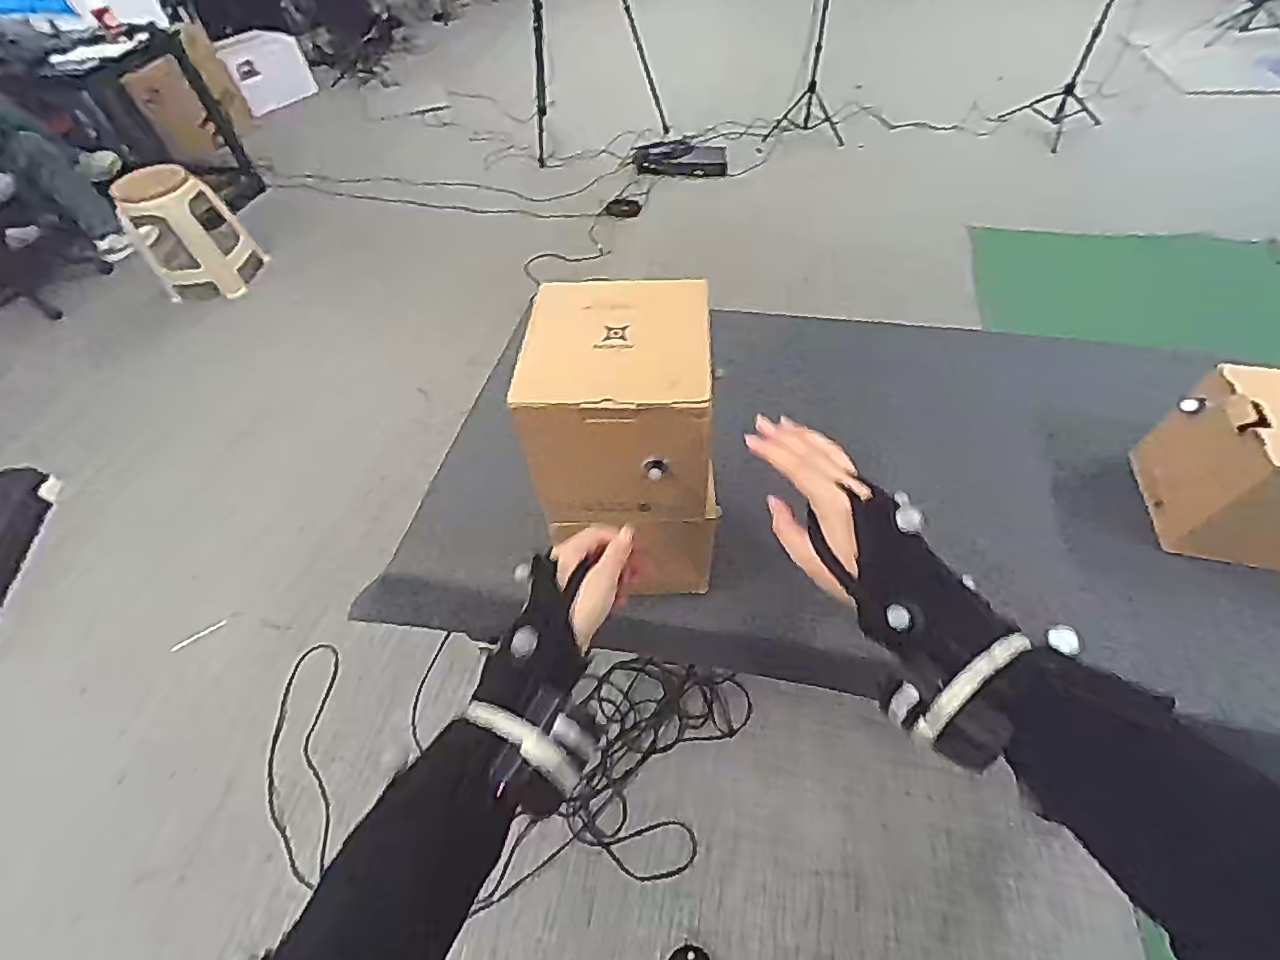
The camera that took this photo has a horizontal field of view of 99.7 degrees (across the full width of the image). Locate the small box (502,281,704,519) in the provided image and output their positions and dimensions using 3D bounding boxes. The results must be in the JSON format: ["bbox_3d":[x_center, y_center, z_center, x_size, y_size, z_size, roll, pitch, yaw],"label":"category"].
[{"bbox_3d":[-0.021,-0.075,0.538,0.168,0.176,0.179,1,51,4],"label":"small box"}]

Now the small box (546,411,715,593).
[{"bbox_3d":[-0.006,0.029,0.663,0.179,0.176,0.168,-2,52,3],"label":"small box"}]
